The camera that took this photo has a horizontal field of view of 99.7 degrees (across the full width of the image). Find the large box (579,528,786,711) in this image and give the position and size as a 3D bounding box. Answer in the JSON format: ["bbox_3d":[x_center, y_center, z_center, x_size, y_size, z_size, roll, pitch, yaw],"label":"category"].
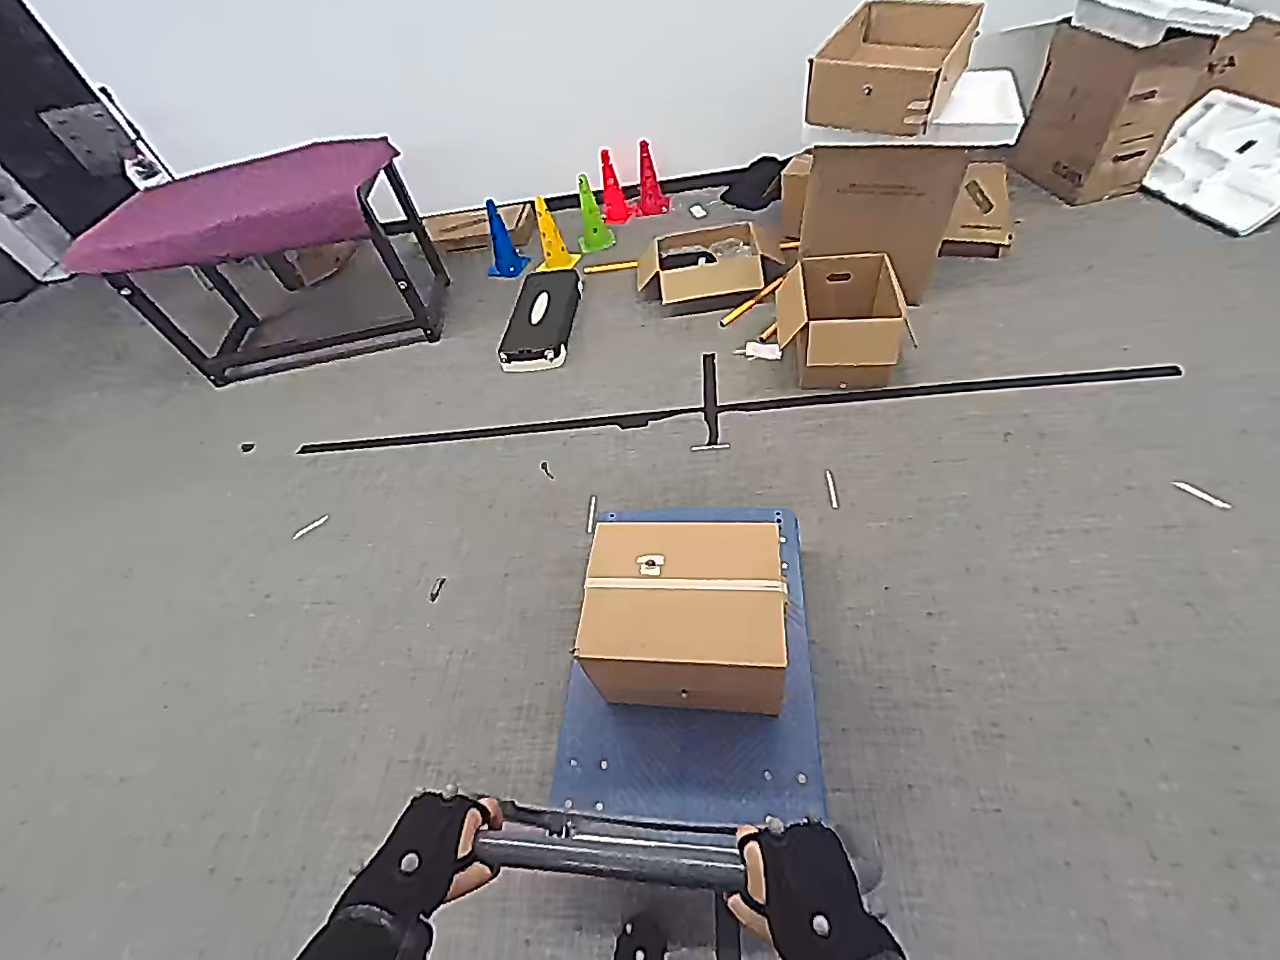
[{"bbox_3d":[0.111,0.324,1.236,0.408,0.320,0.320,-2,51,11],"label":"large box"}]
